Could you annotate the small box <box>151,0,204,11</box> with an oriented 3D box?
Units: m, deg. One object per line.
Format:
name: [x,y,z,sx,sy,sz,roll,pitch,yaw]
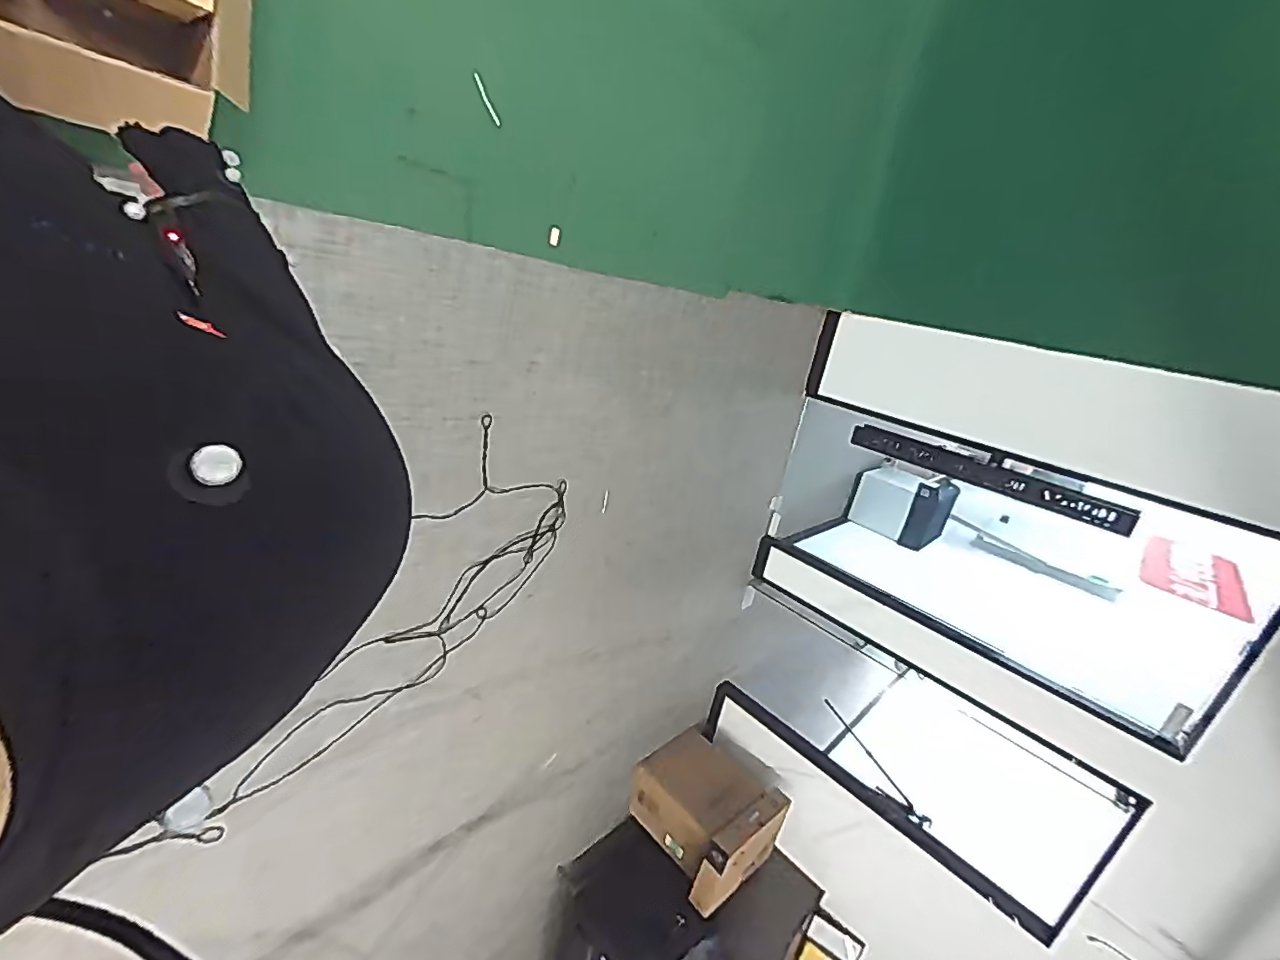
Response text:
small box: [-0.689,-0.770,0.715,0.168,0.176,0.179,-4,115,-49]
